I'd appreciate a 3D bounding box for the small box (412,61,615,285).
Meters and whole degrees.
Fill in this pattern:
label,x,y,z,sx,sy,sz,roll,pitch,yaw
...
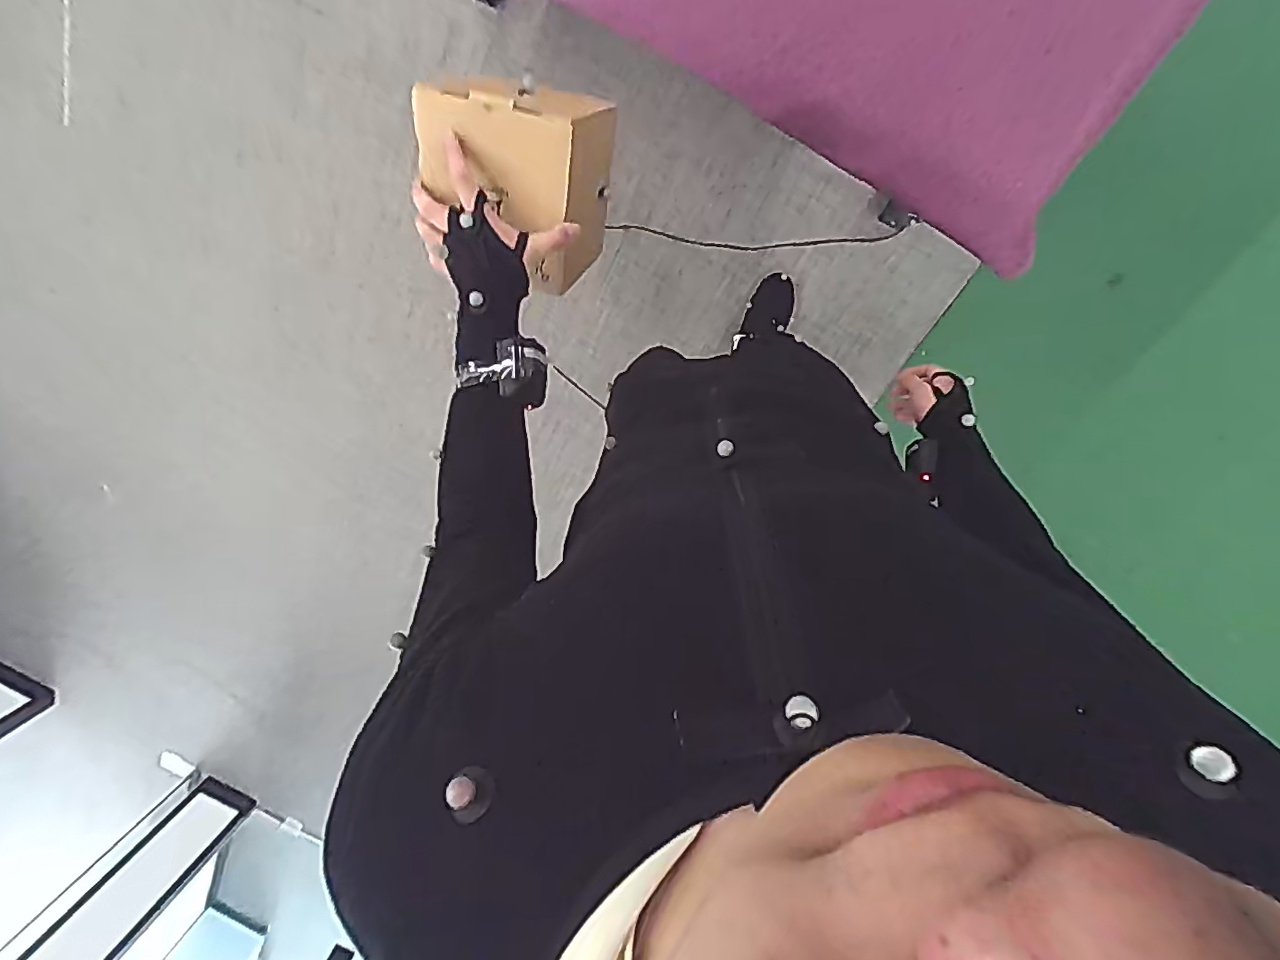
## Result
label,x,y,z,sx,sy,sz,roll,pitch,yaw
small box,-0.134,-0.355,0.618,0.168,0.176,0.179,18,131,4
